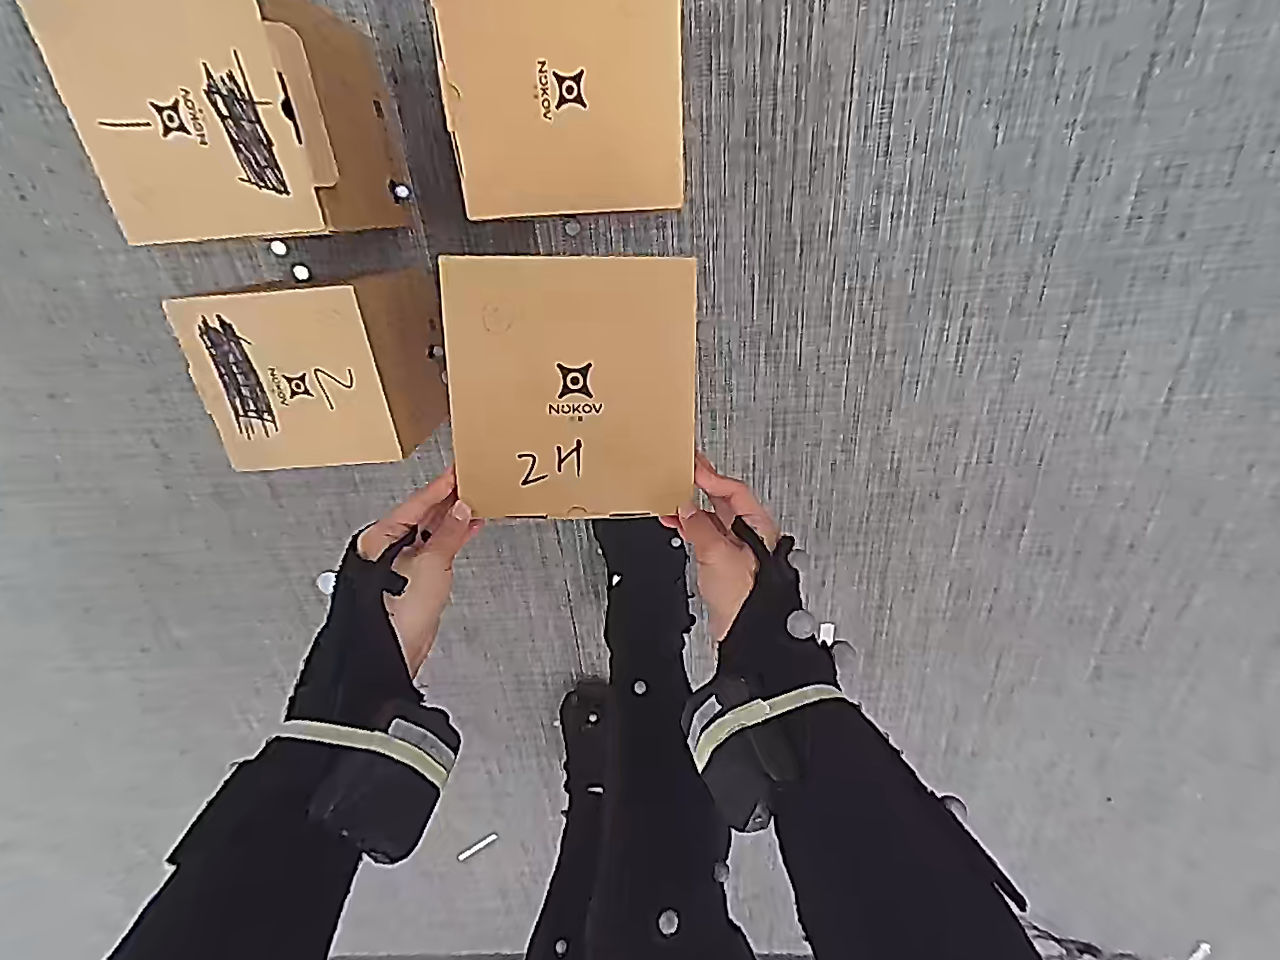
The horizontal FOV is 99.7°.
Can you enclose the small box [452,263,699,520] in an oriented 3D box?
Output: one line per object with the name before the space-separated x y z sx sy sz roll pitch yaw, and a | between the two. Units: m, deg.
small box | -0.047 -0.074 0.451 0.168 0.176 0.179 -1 103 -2
